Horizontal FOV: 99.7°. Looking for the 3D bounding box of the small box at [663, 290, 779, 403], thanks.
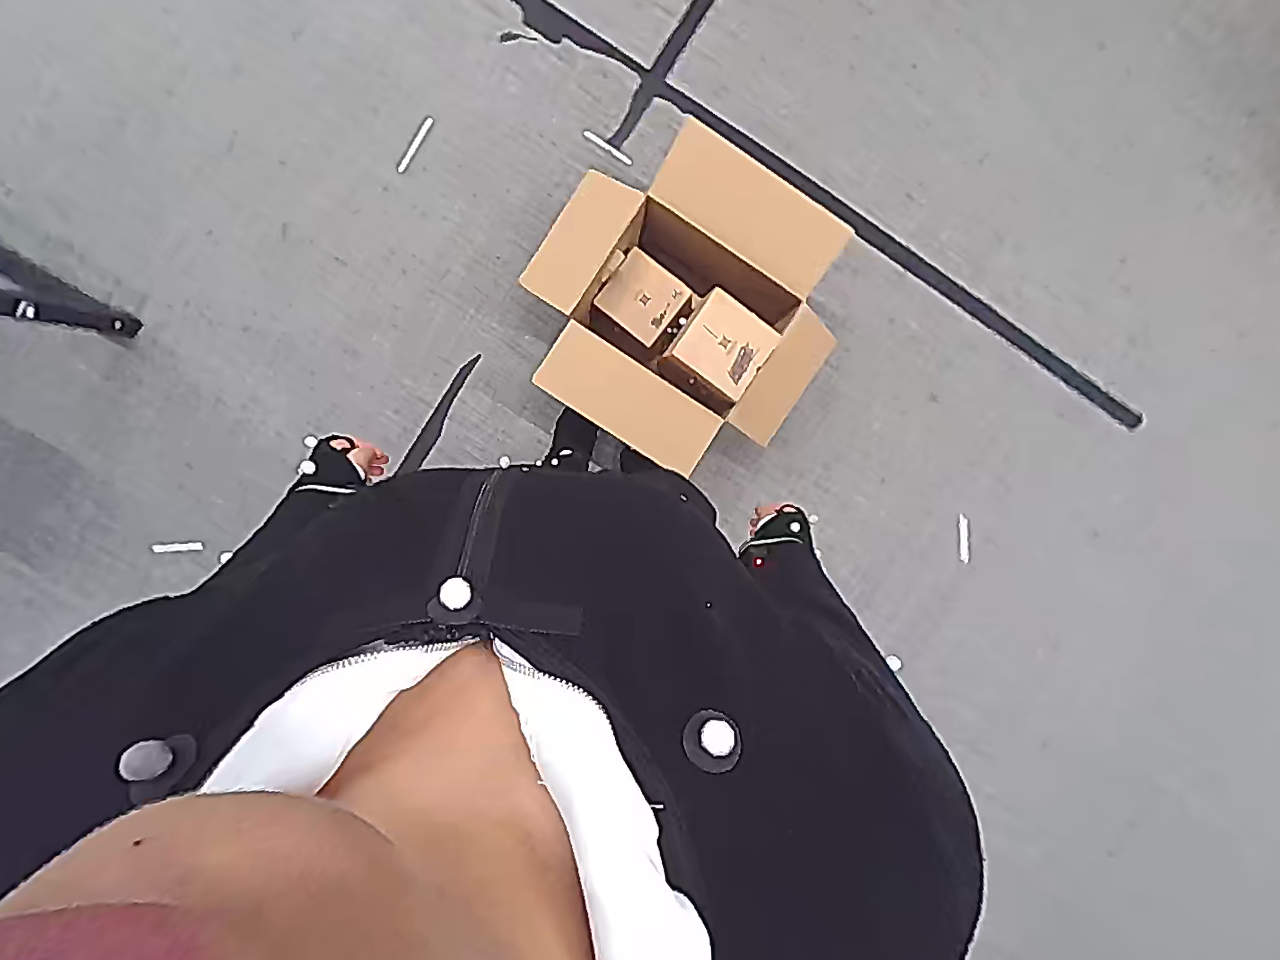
[{"bbox_3d":[0.170,-0.289,1.195,0.179,0.176,0.168,35,94,-8],"label":"small box"}]
